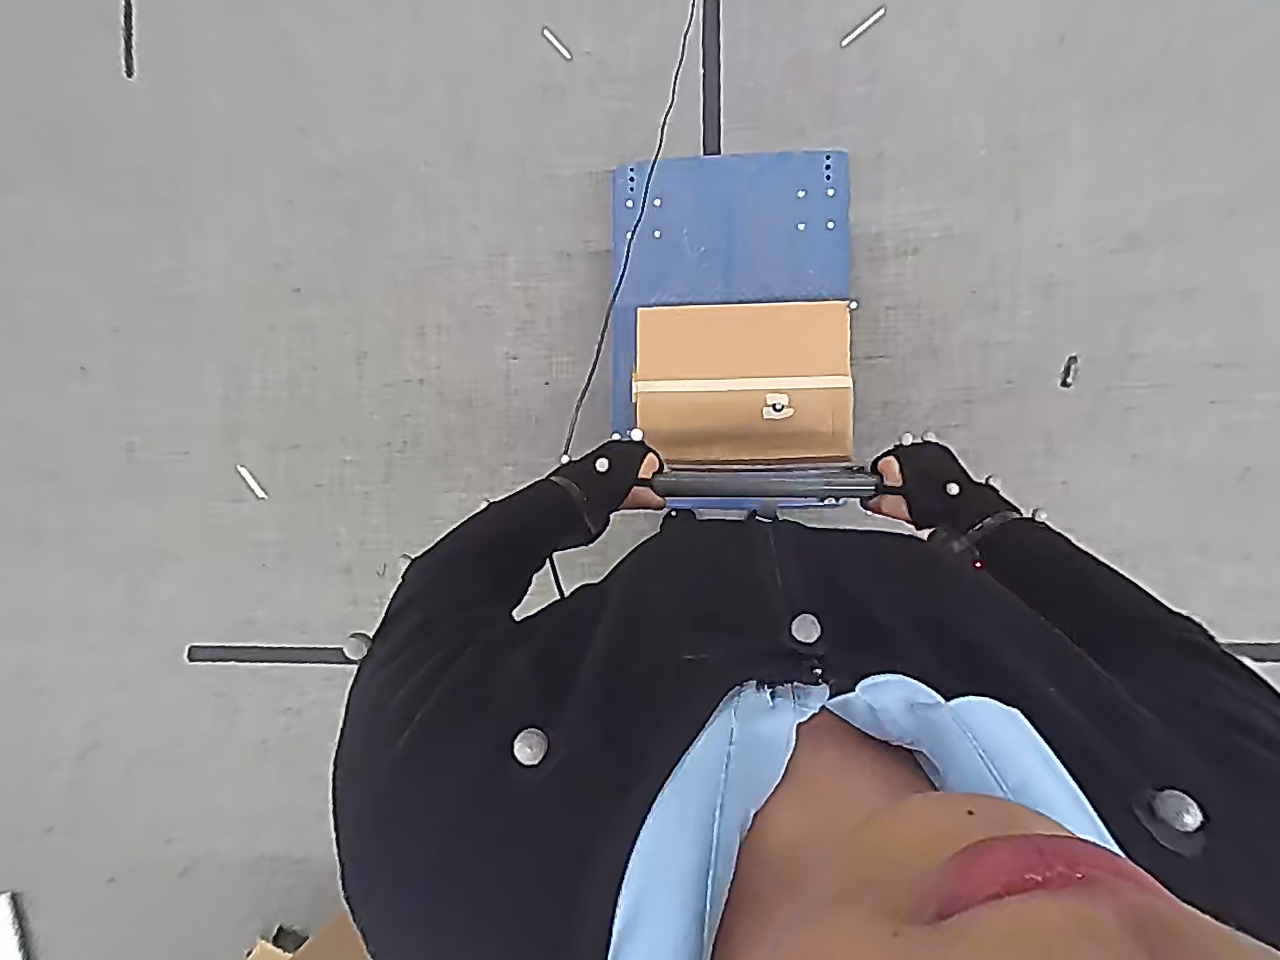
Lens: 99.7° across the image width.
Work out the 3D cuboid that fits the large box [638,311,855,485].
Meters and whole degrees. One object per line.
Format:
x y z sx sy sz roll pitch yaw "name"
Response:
0.209 -0.153 1.168 0.408 0.320 0.320 0 88 5 "large box"
